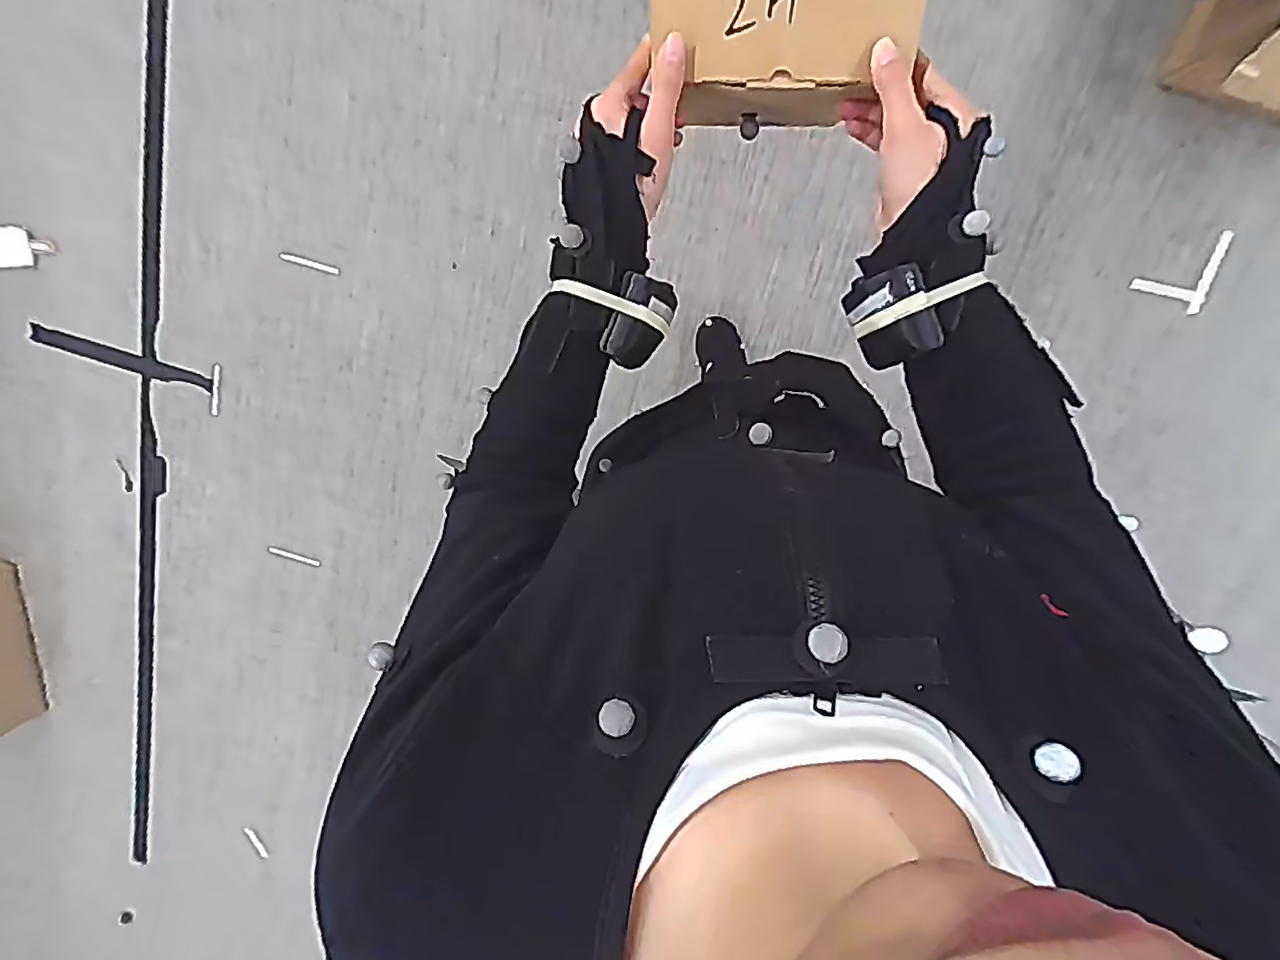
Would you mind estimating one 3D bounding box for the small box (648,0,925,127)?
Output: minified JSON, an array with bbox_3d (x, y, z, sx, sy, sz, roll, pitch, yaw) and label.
[{"bbox_3d":[0.091,-0.366,0.377,0.168,0.176,0.179,1,115,1],"label":"small box"}]
